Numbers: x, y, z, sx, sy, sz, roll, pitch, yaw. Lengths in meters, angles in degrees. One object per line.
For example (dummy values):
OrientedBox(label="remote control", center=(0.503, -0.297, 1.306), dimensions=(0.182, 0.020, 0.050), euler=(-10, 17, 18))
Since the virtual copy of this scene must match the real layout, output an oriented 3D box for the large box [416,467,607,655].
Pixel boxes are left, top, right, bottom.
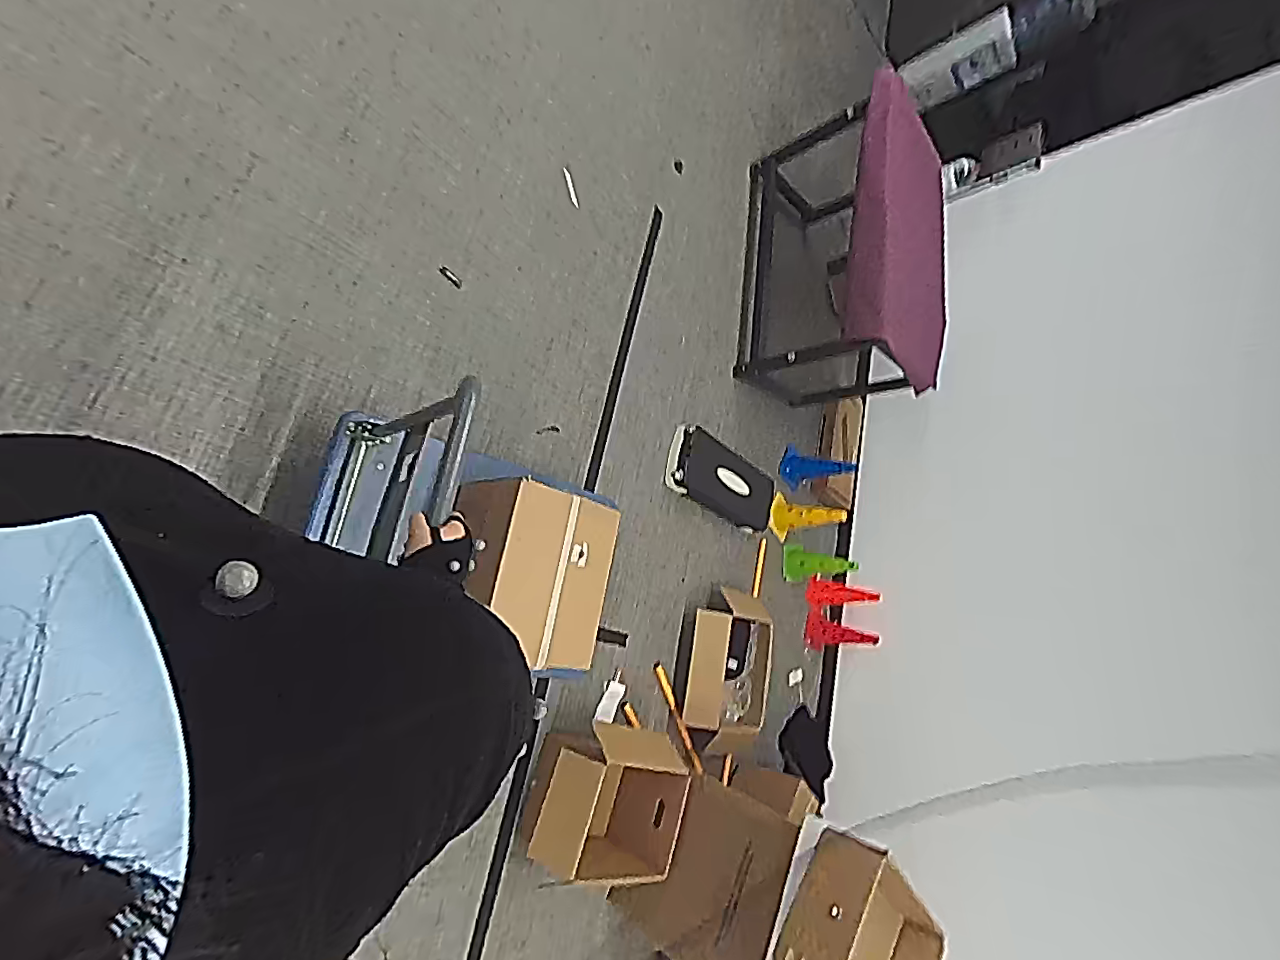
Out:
OrientedBox(label="large box", center=(-0.326, 0.213, 1.386), dimensions=(0.320, 0.320, 0.408), euler=(24, 70, -42))
